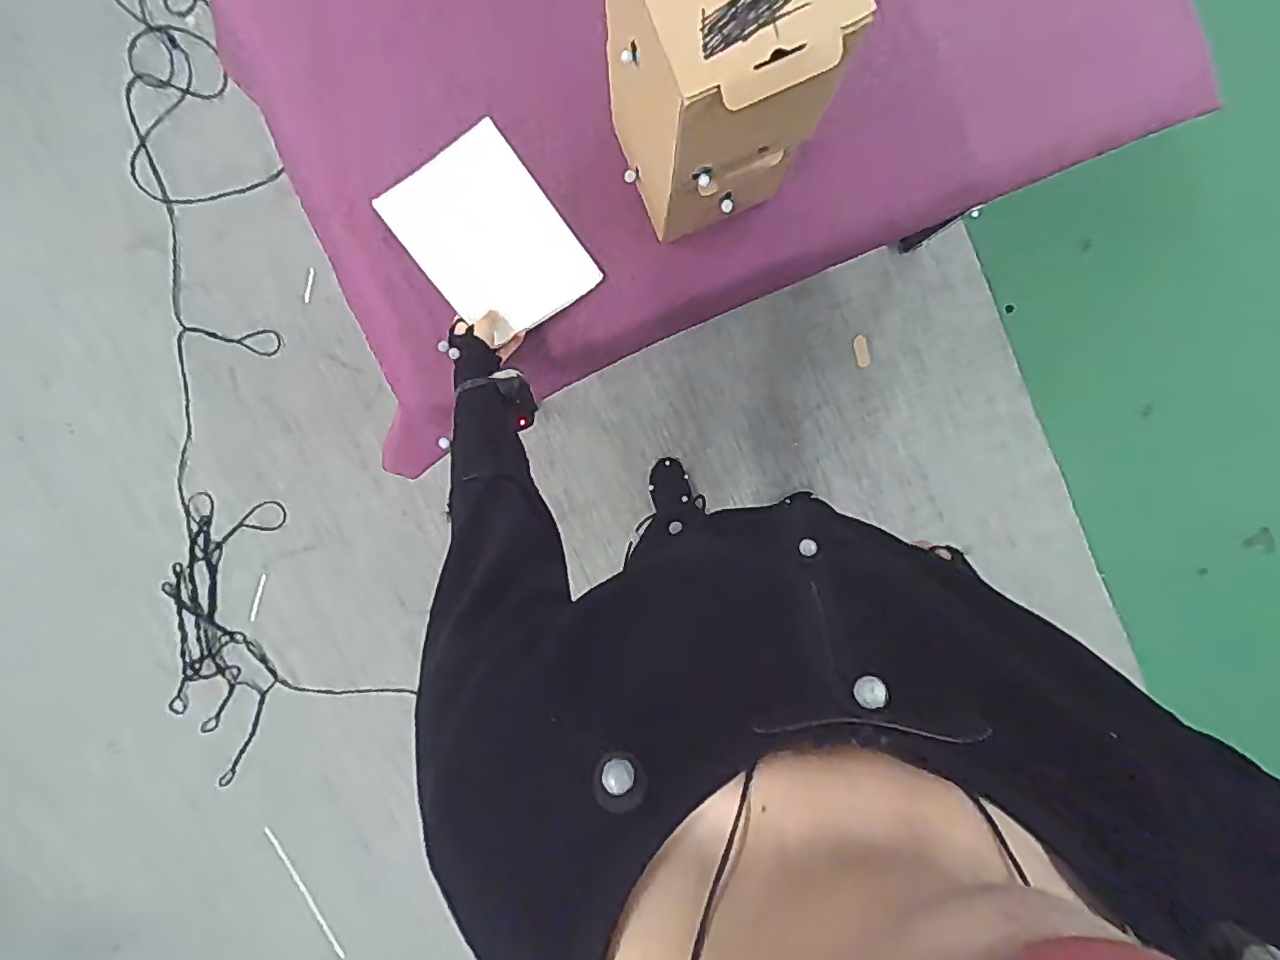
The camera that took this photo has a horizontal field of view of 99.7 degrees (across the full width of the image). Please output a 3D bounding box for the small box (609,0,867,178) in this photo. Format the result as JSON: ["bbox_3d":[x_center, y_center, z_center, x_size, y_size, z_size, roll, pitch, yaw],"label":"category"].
[{"bbox_3d":[0.075,-0.416,0.503,0.168,0.176,0.179,-23,93,2],"label":"small box"}]

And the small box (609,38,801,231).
[{"bbox_3d":[0.073,-0.434,0.667,0.168,0.176,0.179,-23,95,1],"label":"small box"}]
